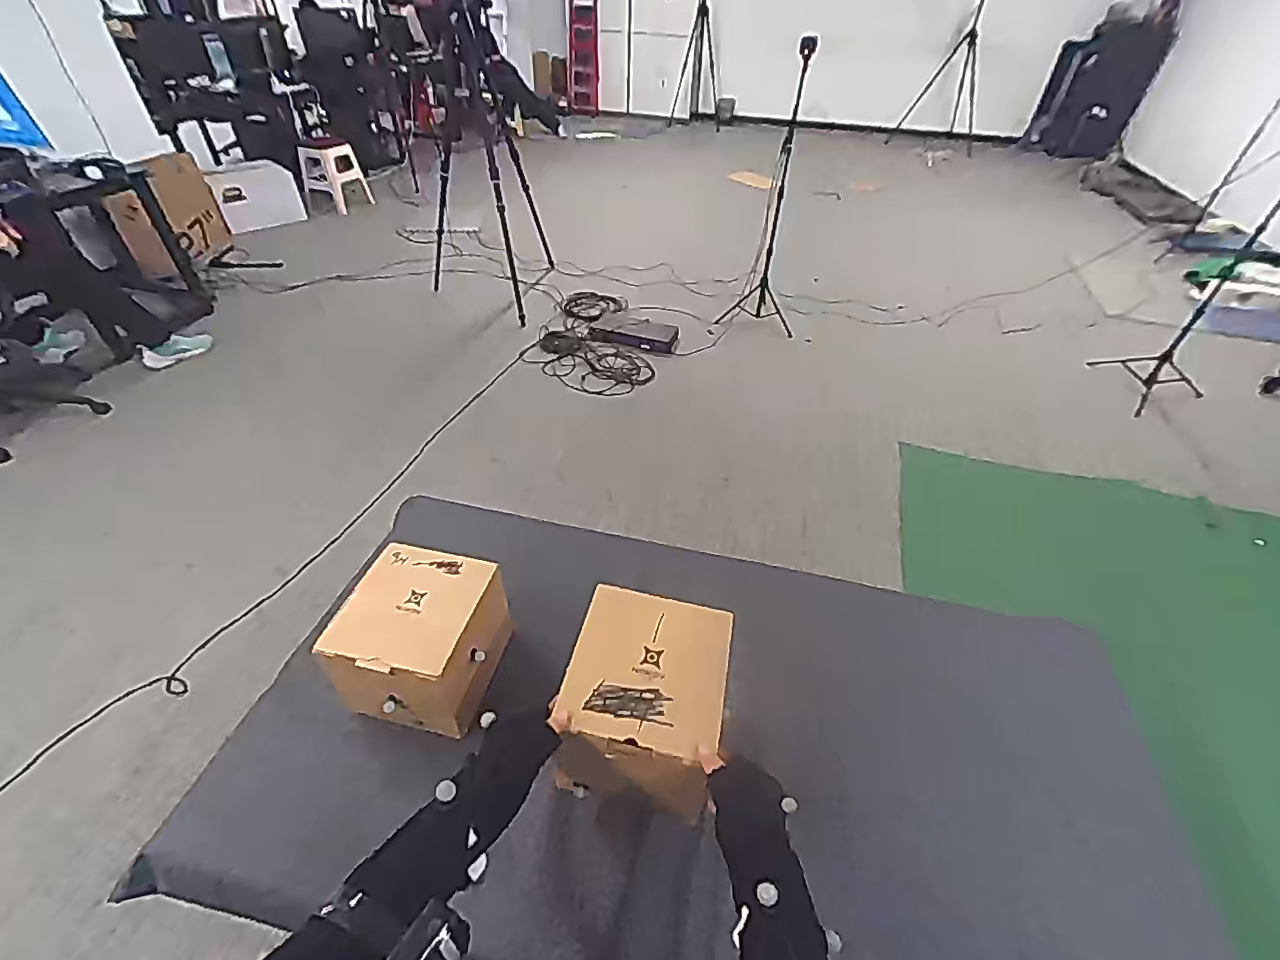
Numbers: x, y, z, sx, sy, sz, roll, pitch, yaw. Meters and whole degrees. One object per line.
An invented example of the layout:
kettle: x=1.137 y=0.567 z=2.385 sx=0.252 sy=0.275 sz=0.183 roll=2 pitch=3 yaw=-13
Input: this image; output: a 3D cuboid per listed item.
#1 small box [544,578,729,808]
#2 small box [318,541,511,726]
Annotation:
small box: x=0.001 y=0.248 z=0.631 sx=0.168 sy=0.176 sz=0.179 roll=12 pitch=42 yaw=8
small box: x=-0.294 y=0.215 z=0.756 sx=0.168 sy=0.176 sz=0.179 roll=10 pitch=44 yaw=9
